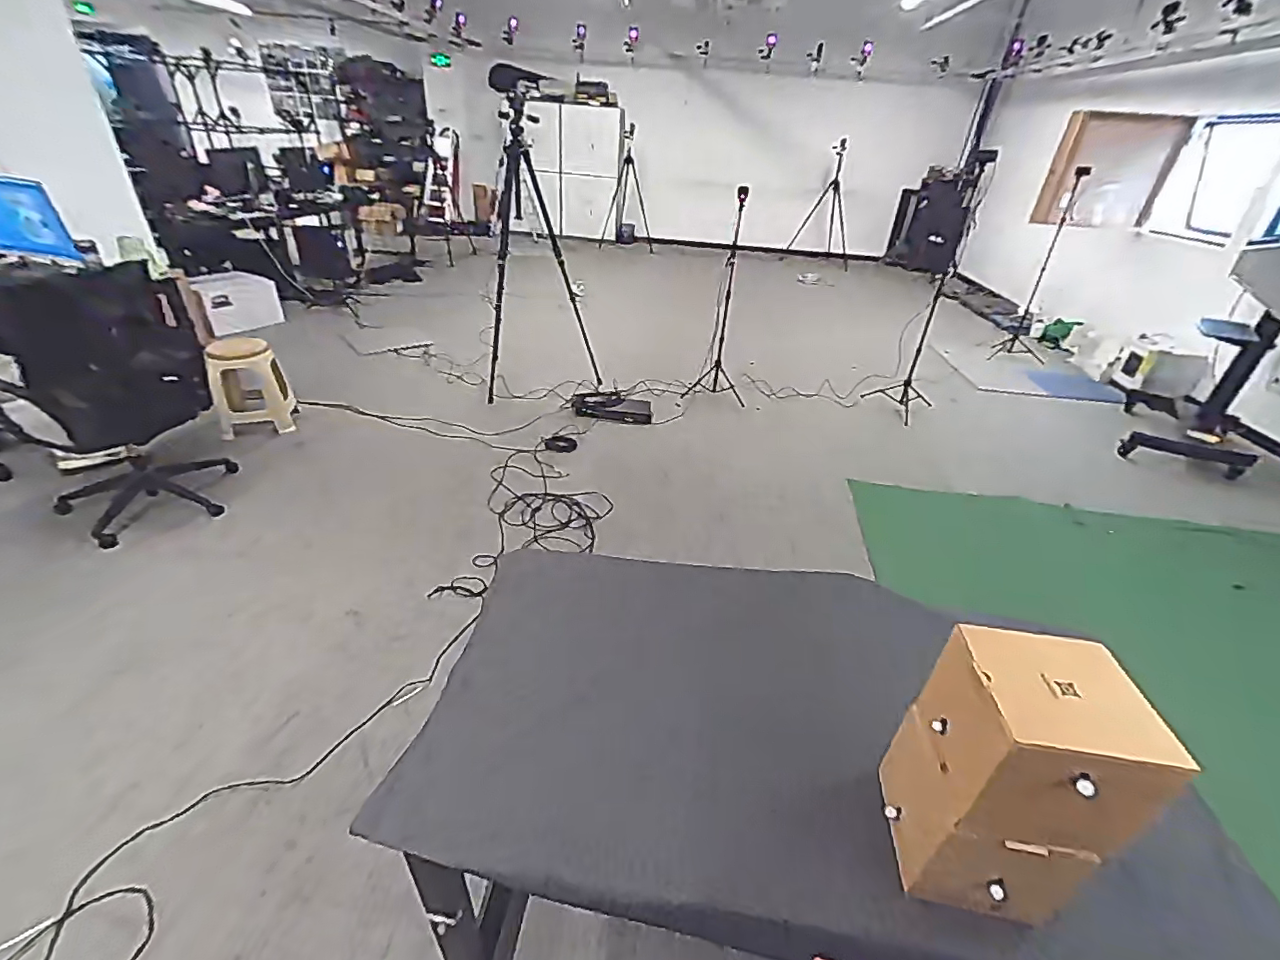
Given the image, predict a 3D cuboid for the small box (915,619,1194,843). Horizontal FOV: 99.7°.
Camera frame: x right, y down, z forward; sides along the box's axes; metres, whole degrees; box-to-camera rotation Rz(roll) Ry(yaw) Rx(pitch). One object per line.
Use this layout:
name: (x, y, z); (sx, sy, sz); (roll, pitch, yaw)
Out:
small box: (0.457, 0.292, 0.635); (0.179, 0.176, 0.168); (6, 31, 6)

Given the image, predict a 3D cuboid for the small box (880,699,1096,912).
small box: (0.439, 0.430, 0.720); (0.168, 0.176, 0.179); (7, 32, 7)
